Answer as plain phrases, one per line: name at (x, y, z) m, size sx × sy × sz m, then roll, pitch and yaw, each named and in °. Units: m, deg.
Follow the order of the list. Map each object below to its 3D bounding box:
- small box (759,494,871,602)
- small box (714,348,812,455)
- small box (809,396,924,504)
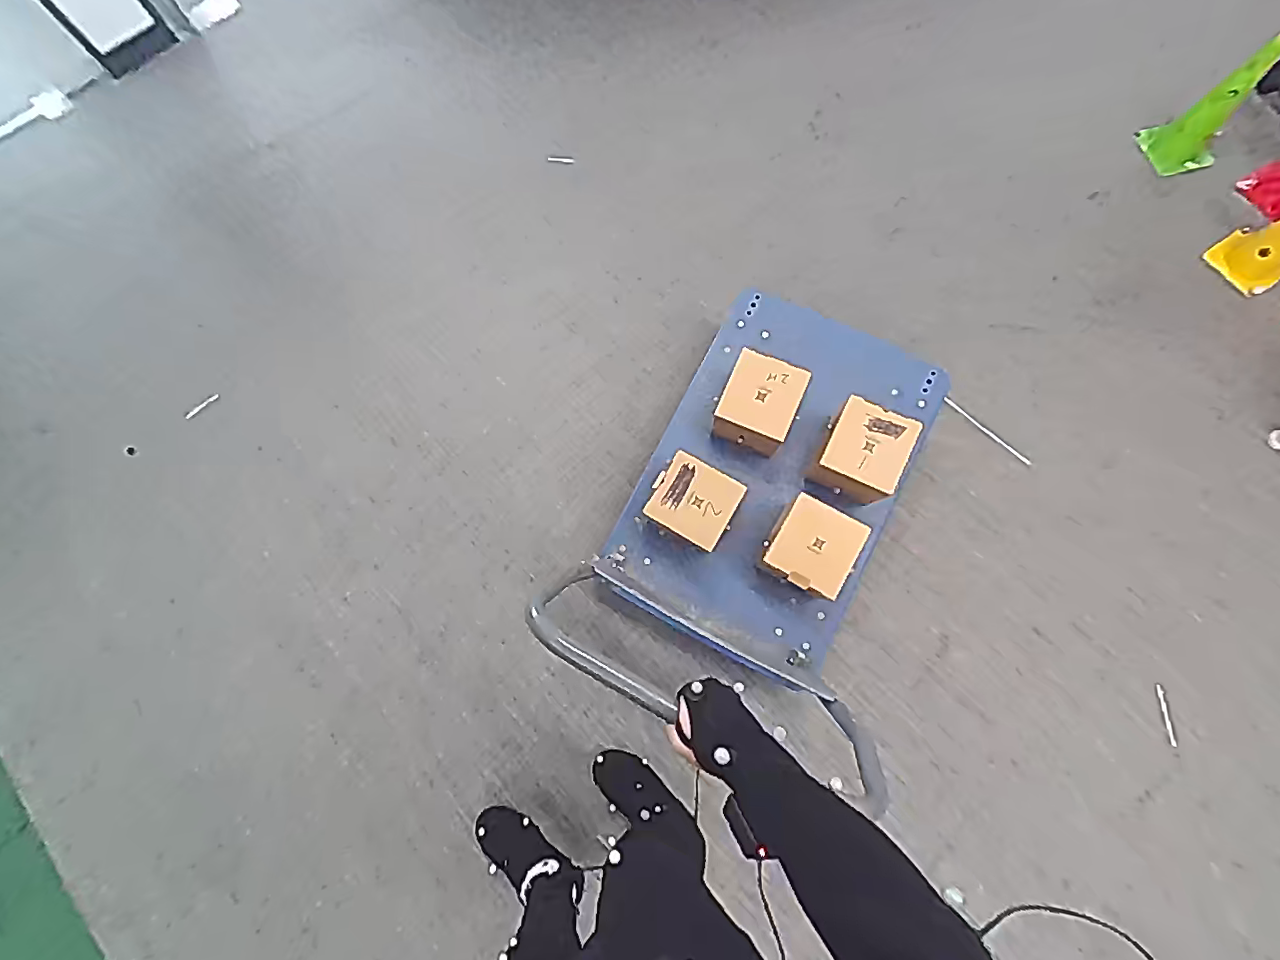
small box at (0.381, 0.153, 1.213) m, size 0.168 × 0.176 × 0.179 m, roll 29°, pitch 85°, yaw 10°
small box at (0.282, -0.177, 1.278) m, size 0.168 × 0.176 × 0.179 m, roll 24°, pitch 83°, yaw 8°
small box at (0.506, -0.061, 1.237) m, size 0.168 × 0.176 × 0.179 m, roll 26°, pitch 84°, yaw 10°
